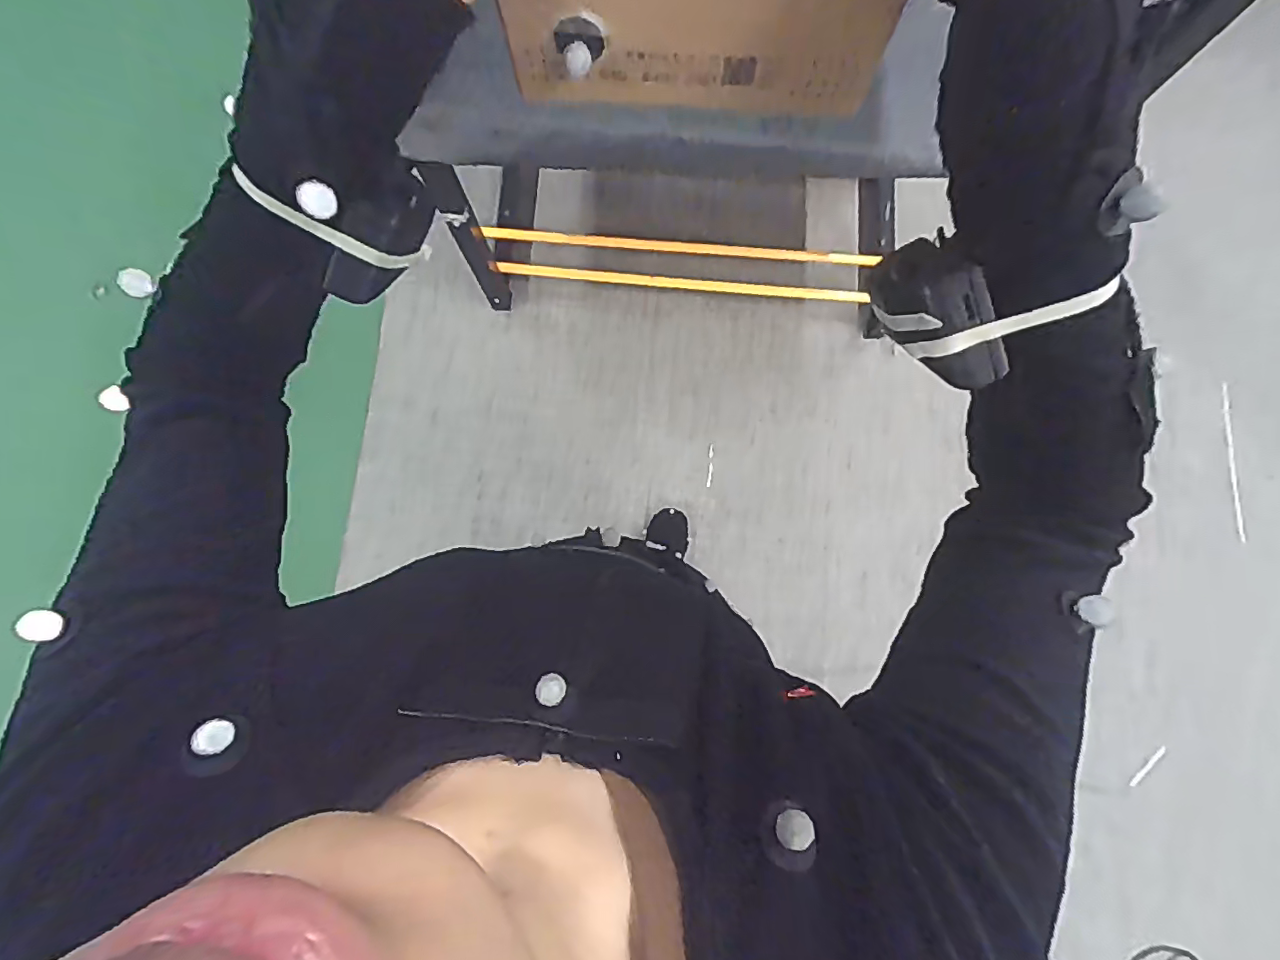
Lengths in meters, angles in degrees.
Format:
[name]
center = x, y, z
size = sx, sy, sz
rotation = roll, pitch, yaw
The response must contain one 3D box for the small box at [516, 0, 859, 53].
[small box]
center = 0.020, -0.298, 0.191
size = 0.168, 0.176, 0.179
rotation = 3, 81, 0
